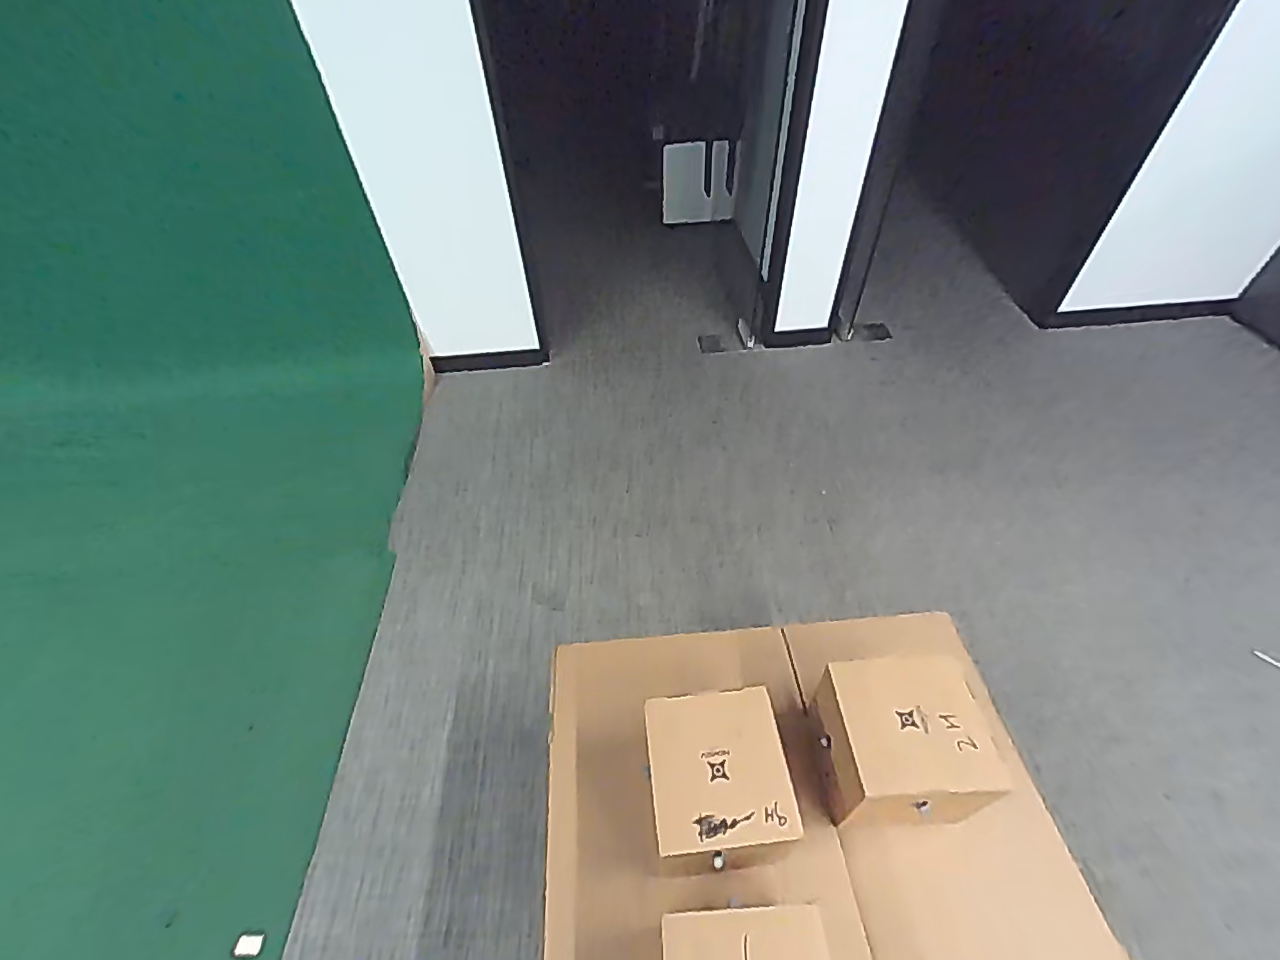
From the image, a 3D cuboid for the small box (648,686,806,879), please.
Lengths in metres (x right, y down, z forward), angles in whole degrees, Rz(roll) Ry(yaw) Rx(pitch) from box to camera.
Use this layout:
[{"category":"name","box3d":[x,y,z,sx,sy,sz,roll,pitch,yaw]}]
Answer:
[{"category":"small box","box3d":[0.101,0.397,0.711,0.168,0.176,0.179,-6,46,-1]}]

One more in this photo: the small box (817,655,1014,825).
[{"category":"small box","box3d":[0.349,0.355,0.734,0.179,0.176,0.168,-4,47,2]}]

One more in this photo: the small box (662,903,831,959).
[{"category":"small box","box3d":[0.114,0.560,0.559,0.168,0.176,0.179,-4,46,0]}]
